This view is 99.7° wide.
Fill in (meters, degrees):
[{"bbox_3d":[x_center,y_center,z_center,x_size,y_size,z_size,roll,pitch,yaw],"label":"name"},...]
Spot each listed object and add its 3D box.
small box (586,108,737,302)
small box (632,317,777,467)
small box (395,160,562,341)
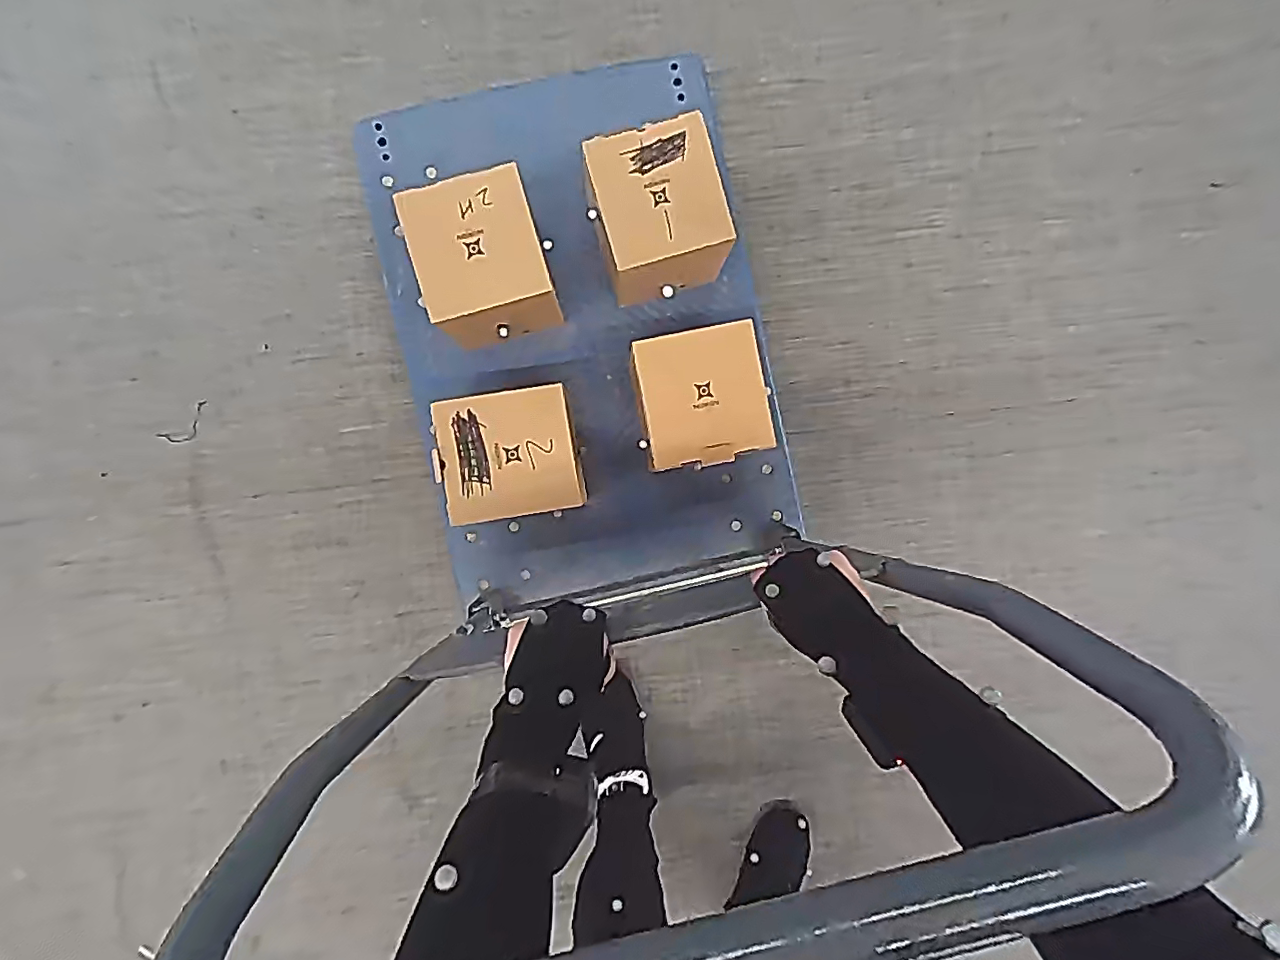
[{"bbox_3d":[0.025,-0.382,0.782,0.168,0.176,0.179,-16,93,-1],"label":"small box"},{"bbox_3d":[0.083,-0.118,0.792,0.168,0.176,0.179,-12,92,-2],"label":"small box"},{"bbox_3d":[-0.217,-0.310,0.775,0.168,0.176,0.179,-16,92,-3],"label":"small box"}]
